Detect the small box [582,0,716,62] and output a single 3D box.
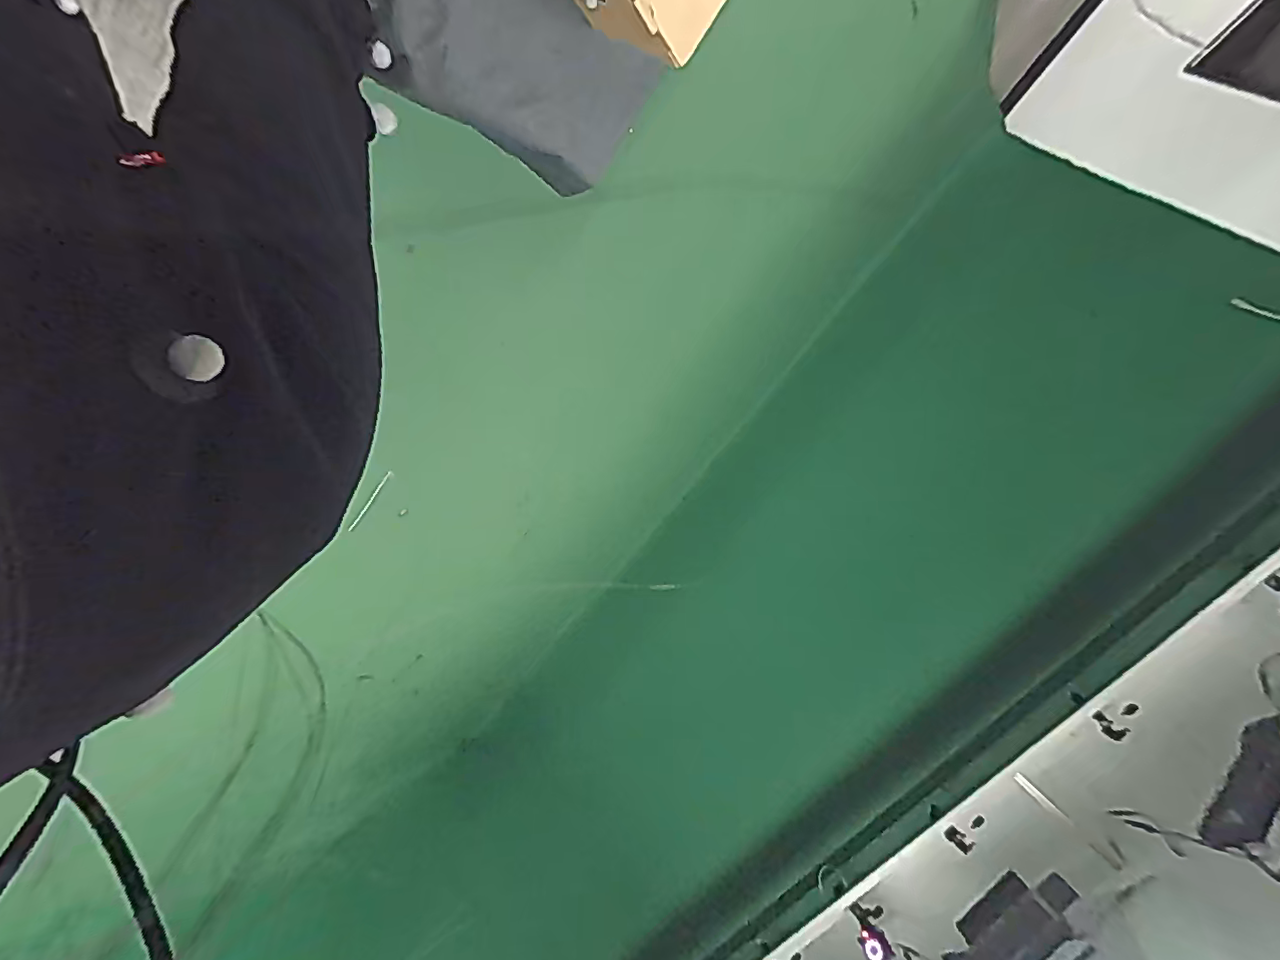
[{"bbox_3d":[0.001,-0.622,0.588,0.179,0.176,0.168,-52,156,16],"label":"small box"}]
